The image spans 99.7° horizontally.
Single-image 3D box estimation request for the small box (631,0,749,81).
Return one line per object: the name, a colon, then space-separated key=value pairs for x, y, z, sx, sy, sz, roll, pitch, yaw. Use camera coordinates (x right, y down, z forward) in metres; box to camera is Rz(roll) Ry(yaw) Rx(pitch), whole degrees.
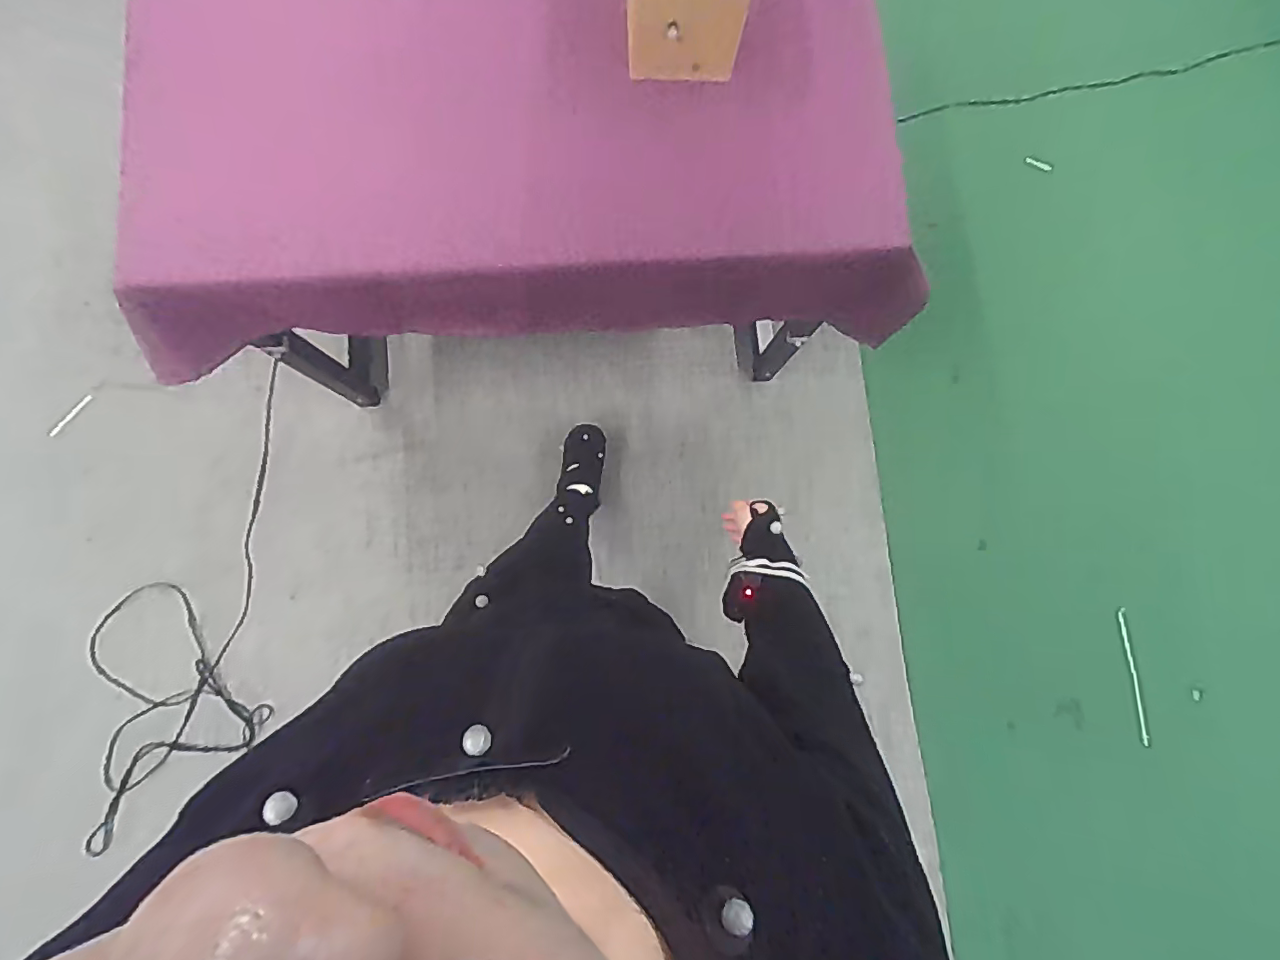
small box: x=0.072 y=-0.742 z=0.811 sx=0.168 sy=0.176 sz=0.179 roll=-1 pitch=82 yaw=-3
